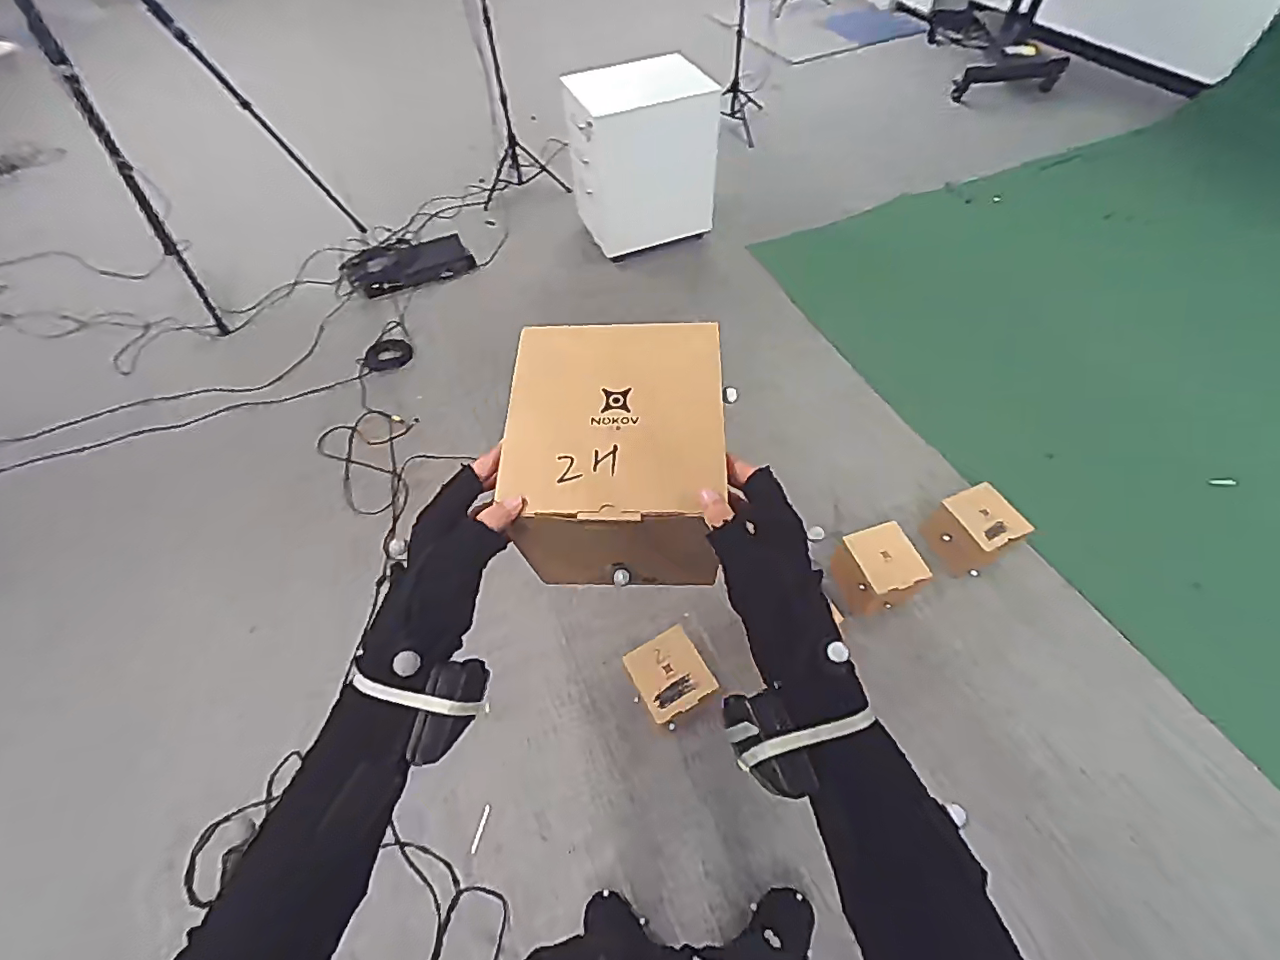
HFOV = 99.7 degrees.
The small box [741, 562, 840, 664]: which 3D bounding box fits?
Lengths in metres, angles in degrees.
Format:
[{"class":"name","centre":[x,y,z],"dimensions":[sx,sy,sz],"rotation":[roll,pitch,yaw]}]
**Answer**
[{"class":"small box","centre":[0.382,0.351,1.408],"dimensions":[0.168,0.176,0.179],"rotation":[-25,61,-13]}]

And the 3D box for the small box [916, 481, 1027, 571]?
[{"class":"small box","centre":[0.931,0.138,1.537],"dimensions":[0.168,0.176,0.179],"rotation":[-20,57,-12]}]

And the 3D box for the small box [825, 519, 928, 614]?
[{"class":"small box","centre":[0.635,0.239,1.477],"dimensions":[0.168,0.176,0.179],"rotation":[-17,58,-9]}]
